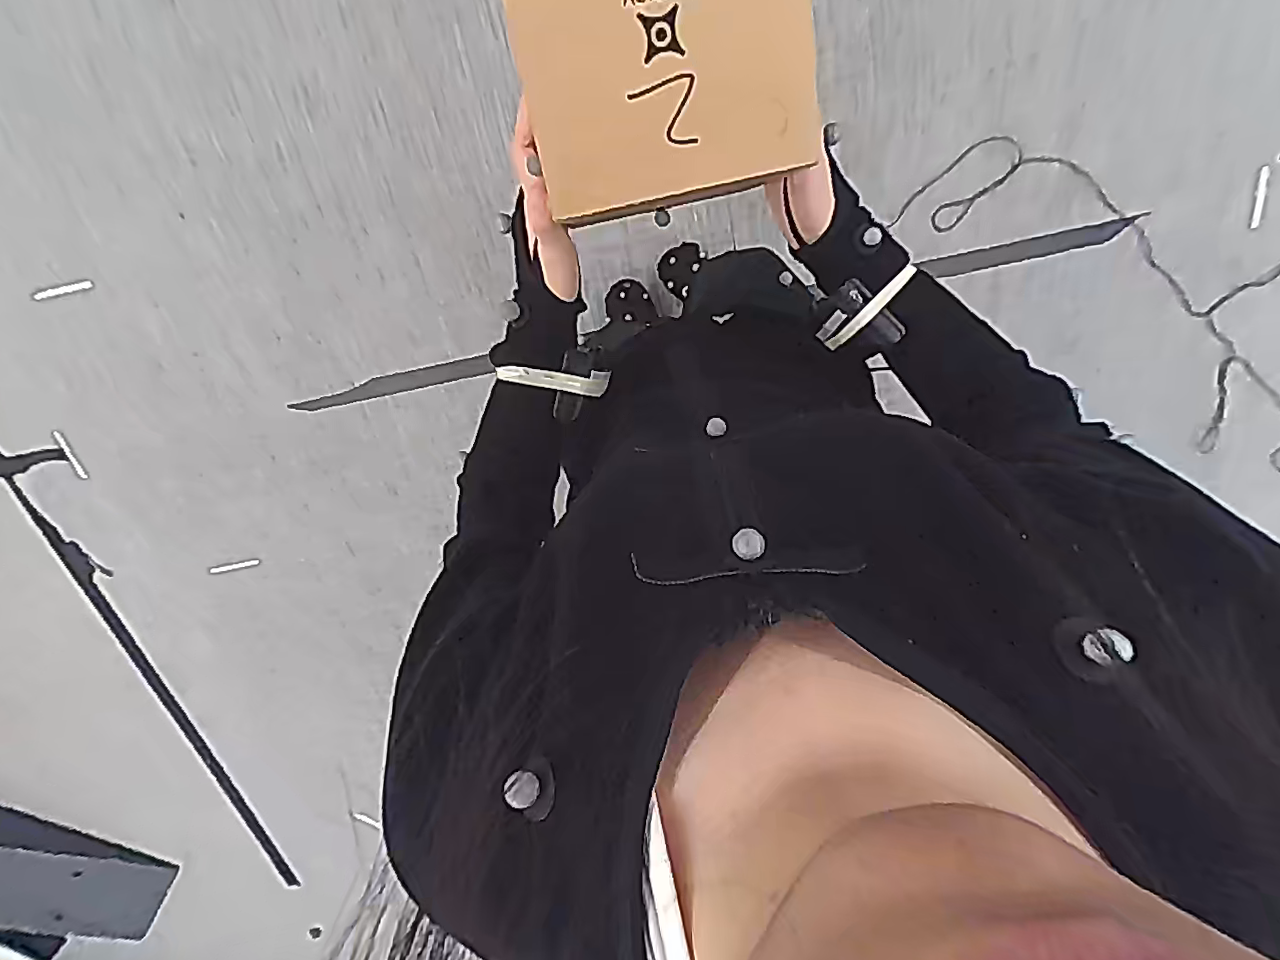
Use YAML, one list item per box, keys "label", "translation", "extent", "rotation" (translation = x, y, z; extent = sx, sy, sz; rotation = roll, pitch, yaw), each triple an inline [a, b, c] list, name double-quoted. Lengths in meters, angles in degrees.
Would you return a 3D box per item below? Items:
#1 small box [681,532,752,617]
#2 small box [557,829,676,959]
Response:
- label: "small box"
  translation: [0.216, 0.263, 1.557]
  extent: [0.168, 0.176, 0.179]
  rotation: [-10, 112, 3]
- label: "small box"
  translation: [-0.035, 0.758, 0.955]
  extent: [0.179, 0.176, 0.168]
  rotation: [-11, 112, 2]
